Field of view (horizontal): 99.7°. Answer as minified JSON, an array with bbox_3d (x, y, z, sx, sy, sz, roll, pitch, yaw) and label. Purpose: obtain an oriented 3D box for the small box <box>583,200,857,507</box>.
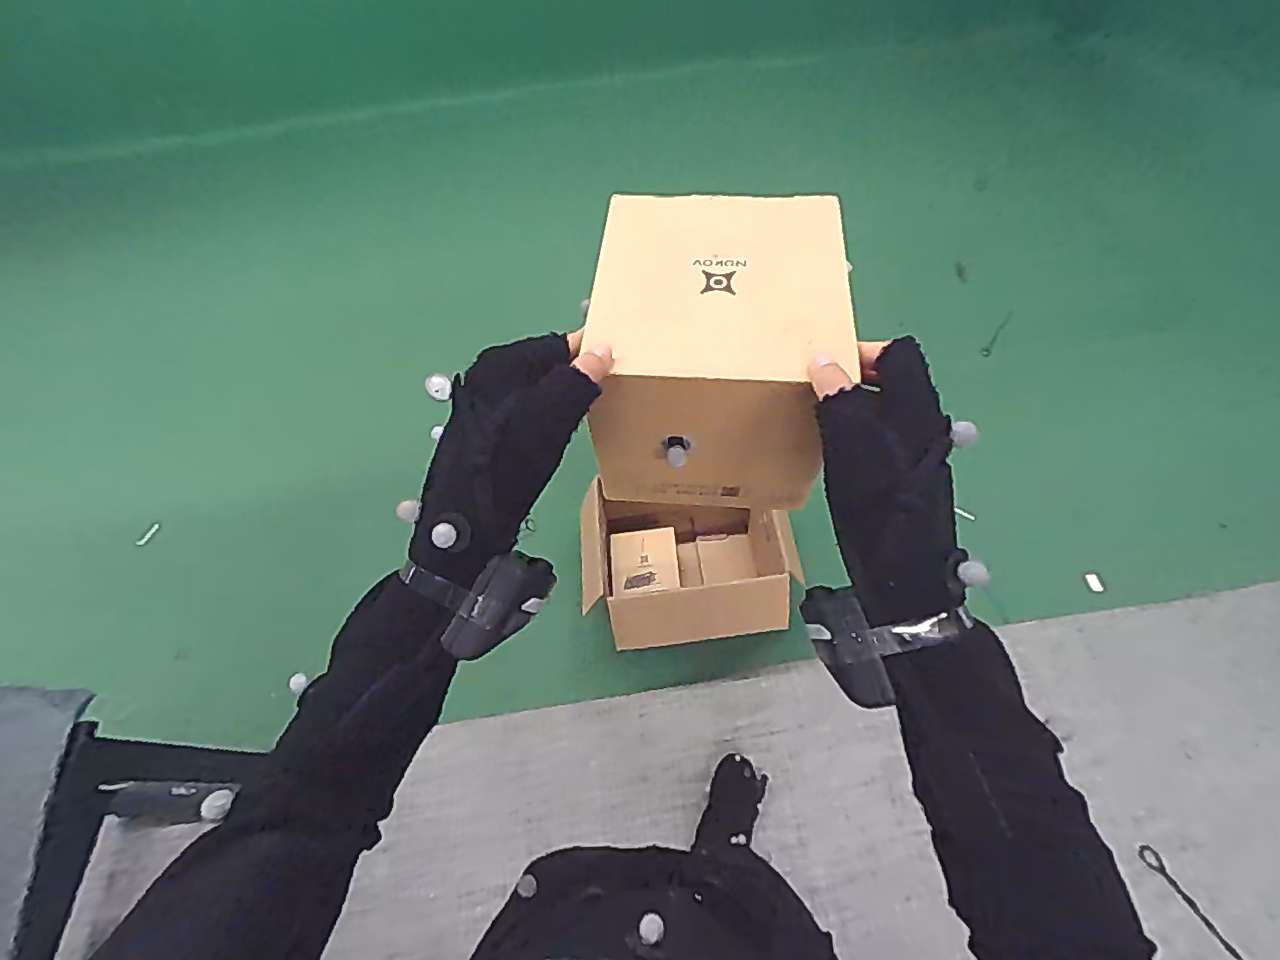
[{"bbox_3d":[0.060,-0.091,0.428,0.168,0.176,0.179,3,60,6],"label":"small box"}]
